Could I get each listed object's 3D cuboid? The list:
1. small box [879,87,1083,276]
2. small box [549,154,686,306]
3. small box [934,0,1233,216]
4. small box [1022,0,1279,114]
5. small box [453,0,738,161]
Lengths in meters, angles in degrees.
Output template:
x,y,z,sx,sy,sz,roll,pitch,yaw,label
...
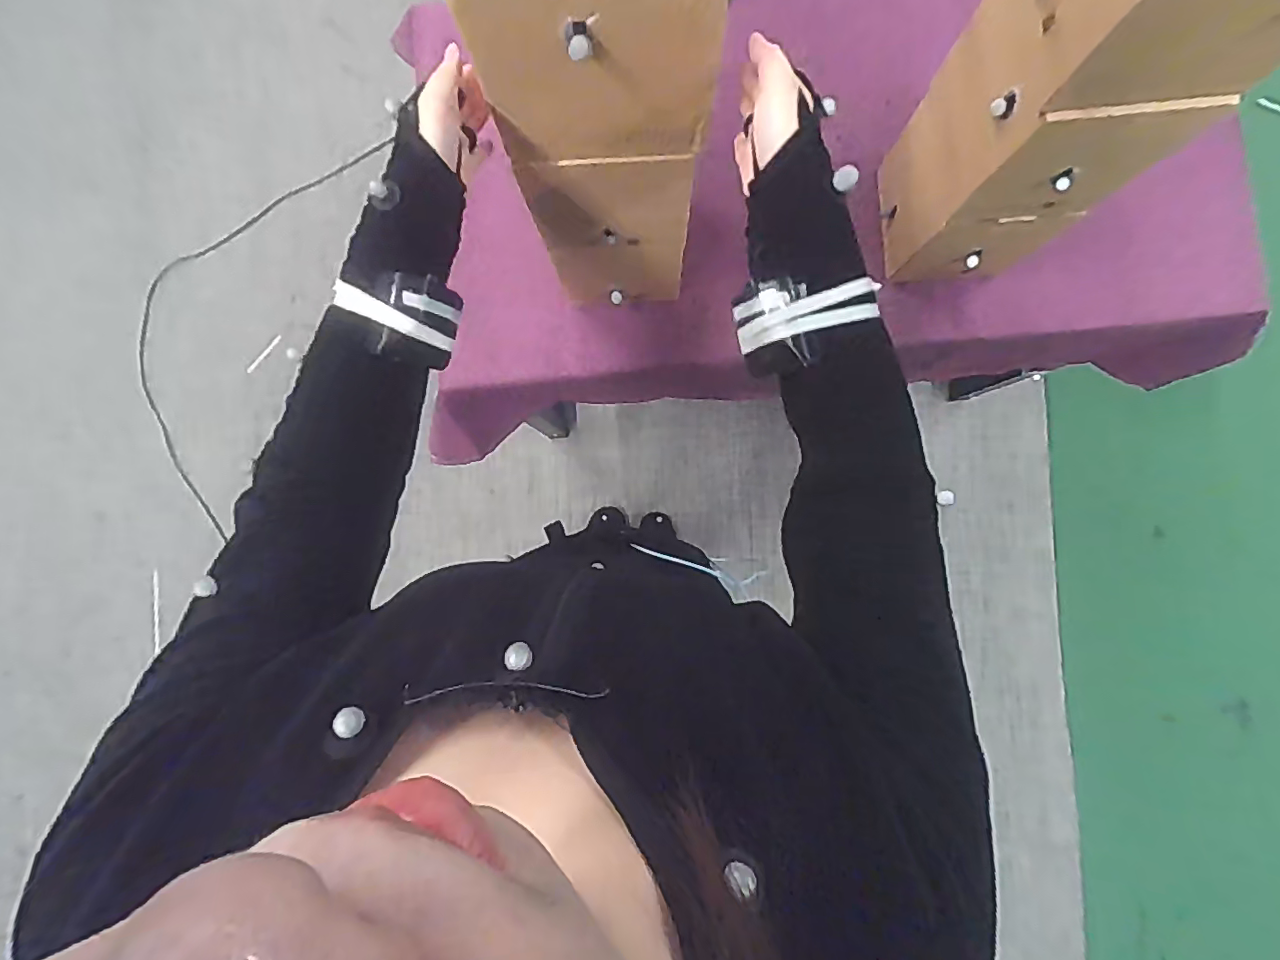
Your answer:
x,y,z,sx,sy,sz,roll,pitch,yaw,label
0.438,-0.385,0.719,0.168,0.176,0.179,-4,88,1,small box
-0.028,-0.352,0.729,0.168,0.176,0.179,-2,88,1,small box
0.430,-0.392,0.554,0.168,0.176,0.179,-4,87,1,small box
0.421,-0.405,0.392,0.179,0.176,0.168,-4,86,2,small box
-0.026,-0.367,0.402,0.179,0.176,0.168,-1,88,2,small box
